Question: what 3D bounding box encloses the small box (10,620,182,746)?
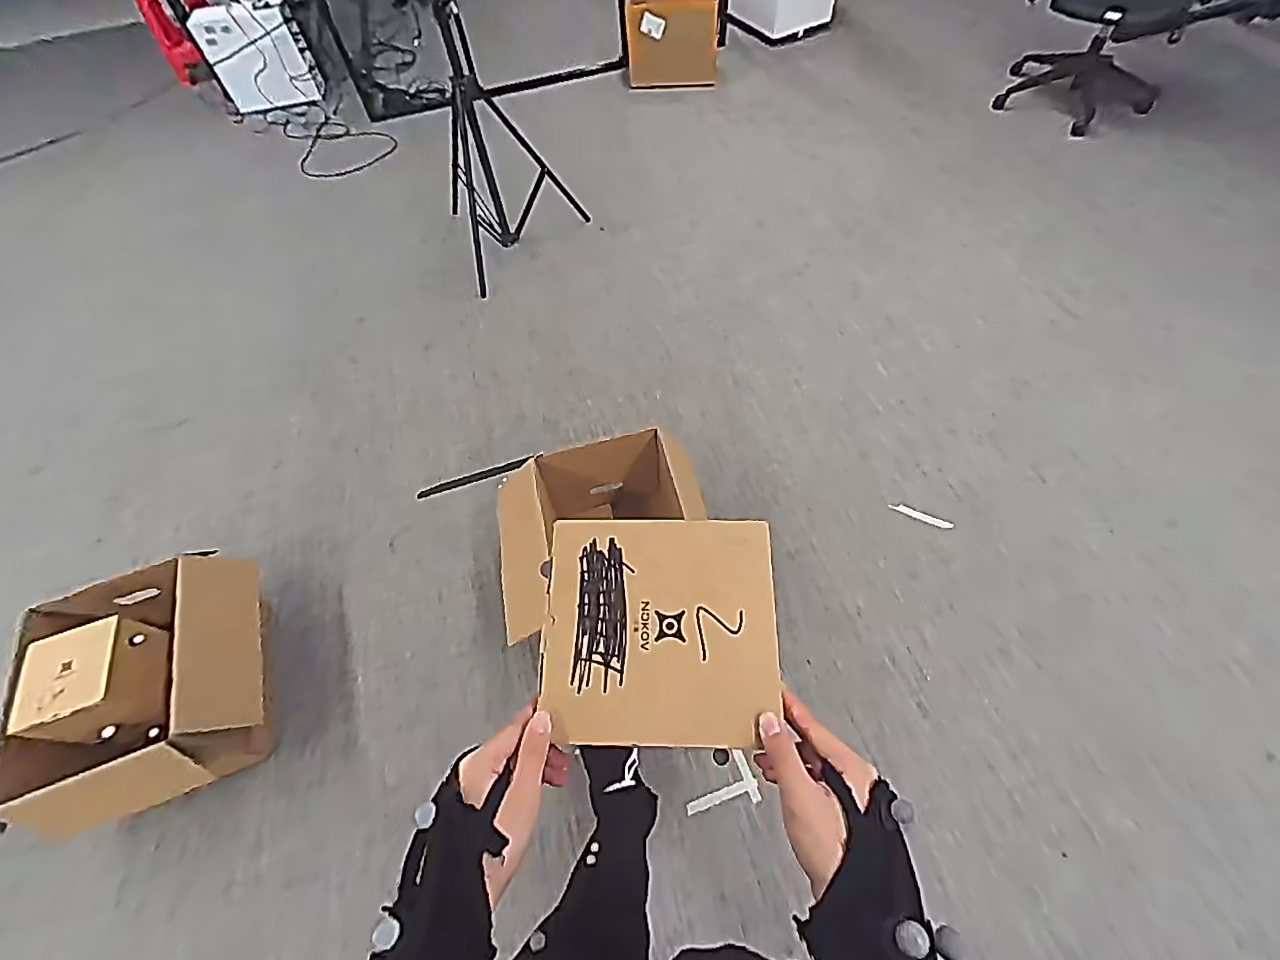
[{"bbox_3d":[-1.074,0.411,1.088,0.168,0.176,0.179,-19,59,-7],"label":"small box"}]
